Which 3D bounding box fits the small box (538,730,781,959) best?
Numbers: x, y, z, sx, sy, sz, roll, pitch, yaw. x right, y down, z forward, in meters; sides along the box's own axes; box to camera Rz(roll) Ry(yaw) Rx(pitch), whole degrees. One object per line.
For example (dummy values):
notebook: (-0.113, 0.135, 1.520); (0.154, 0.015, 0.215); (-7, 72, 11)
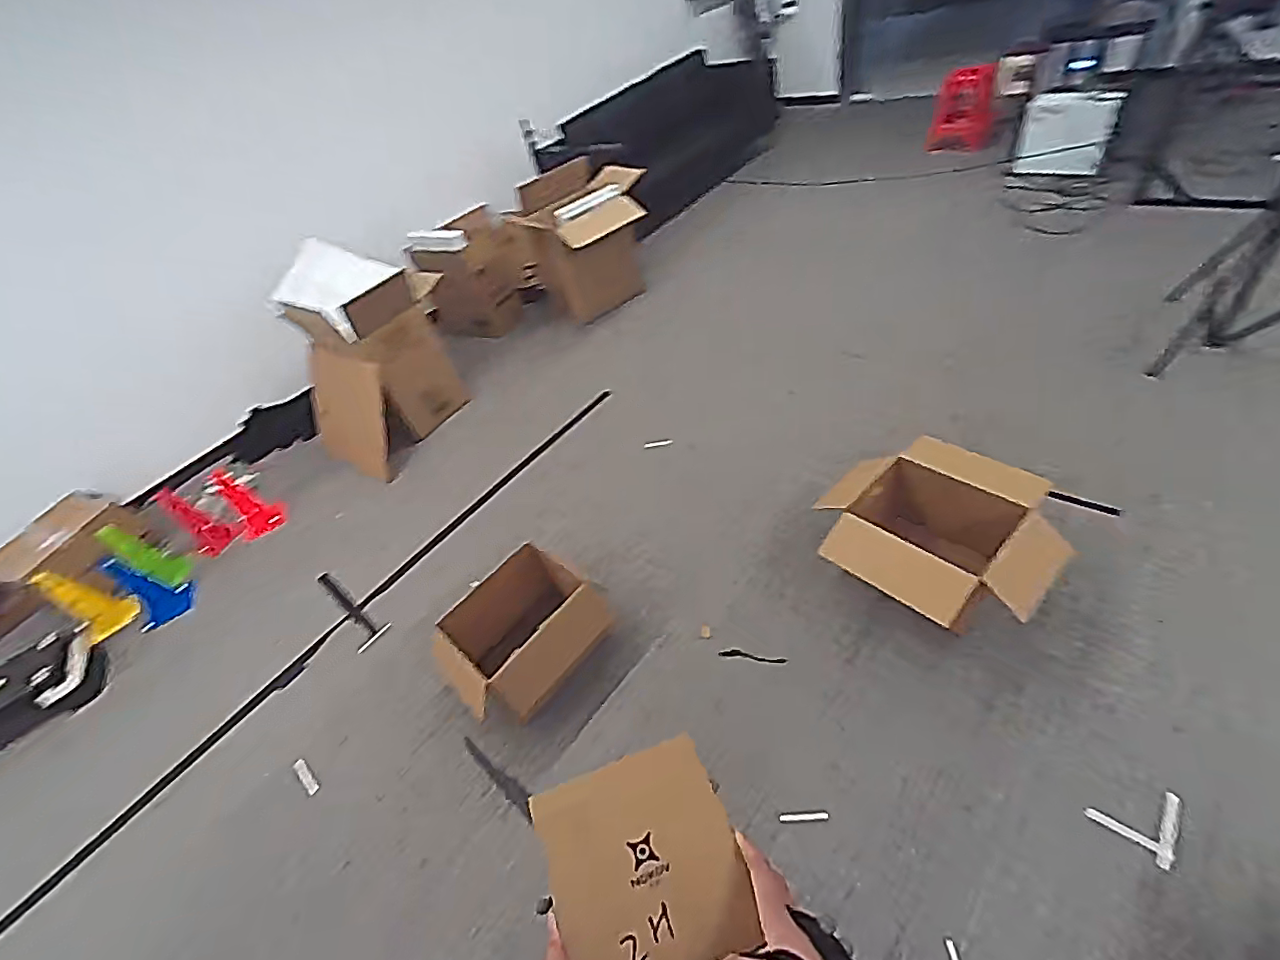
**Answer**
small box: (0.005, 0.383, 0.523); (0.168, 0.176, 0.179); (-14, 47, -17)
